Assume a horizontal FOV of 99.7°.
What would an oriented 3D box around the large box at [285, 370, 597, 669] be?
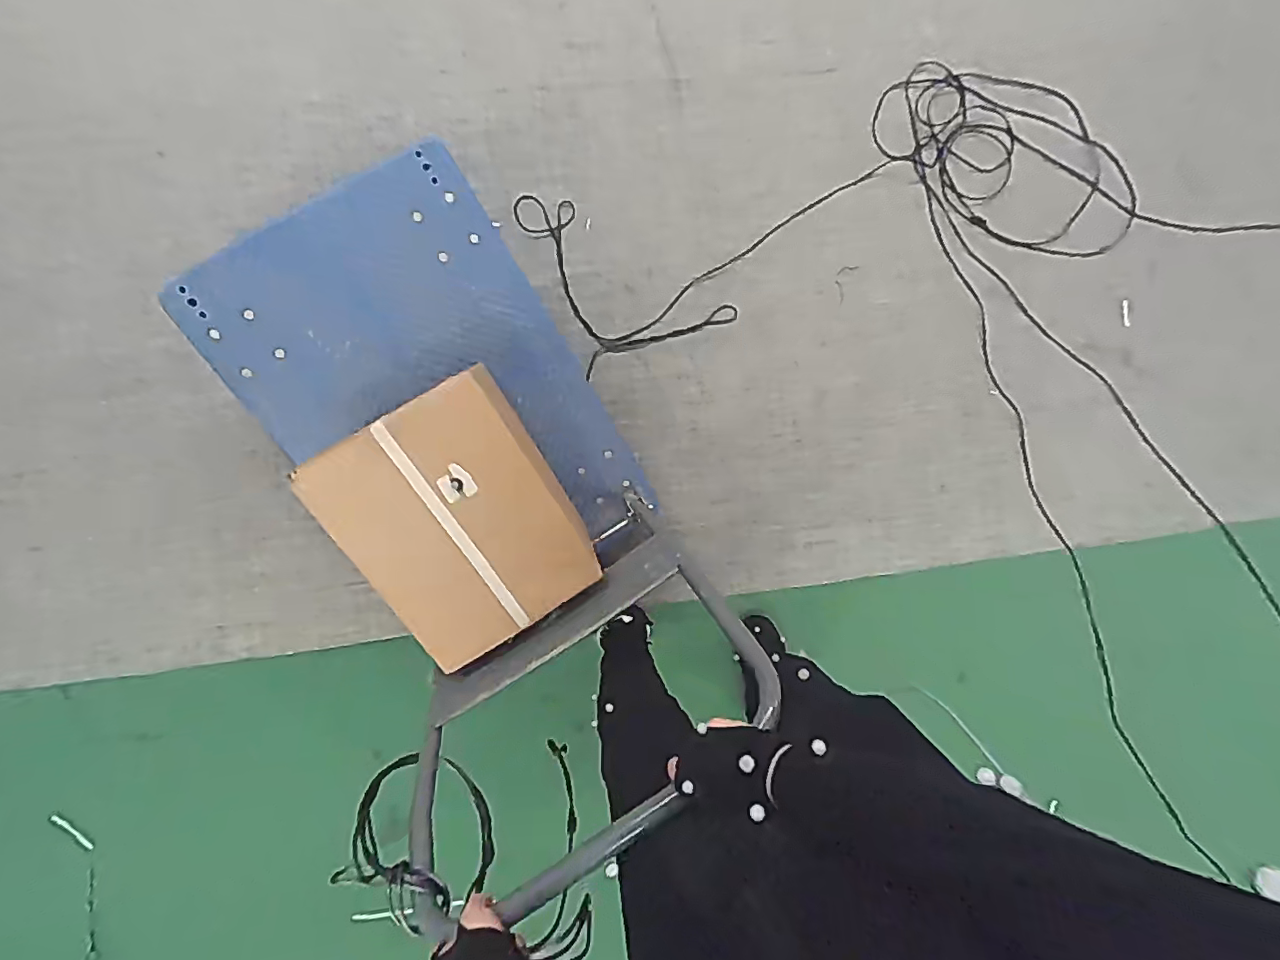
[{"bbox_3d":[-0.324,0.048,0.998,0.320,0.320,0.408,-32,107,-4],"label":"large box"}]
